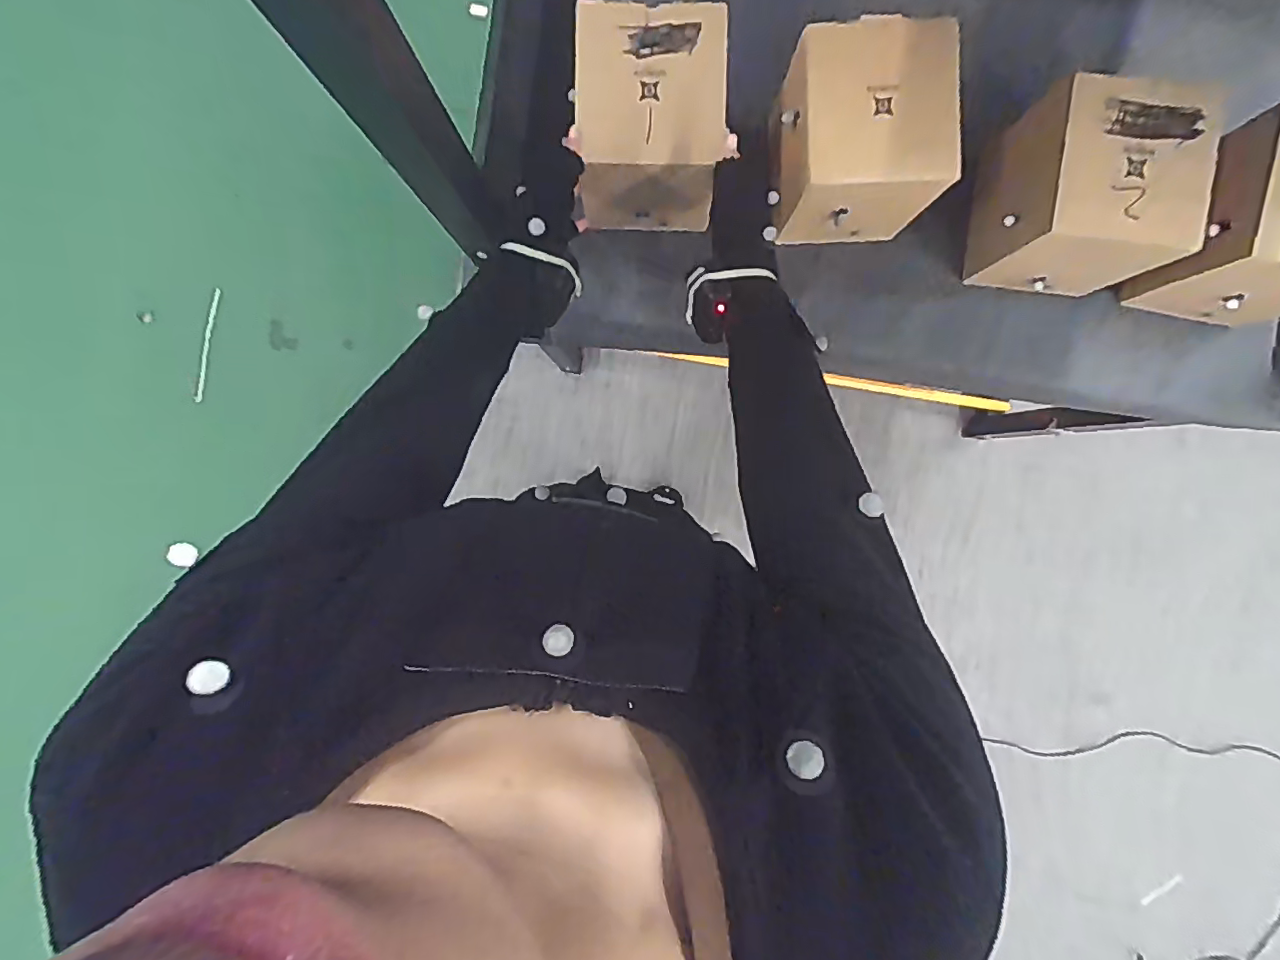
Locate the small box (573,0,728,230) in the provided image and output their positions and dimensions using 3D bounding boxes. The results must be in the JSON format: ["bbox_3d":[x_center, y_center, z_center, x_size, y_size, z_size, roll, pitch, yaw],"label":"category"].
[{"bbox_3d":[0.011,-0.433,0.663,0.168,0.176,0.179,1,92,0],"label":"small box"}]
